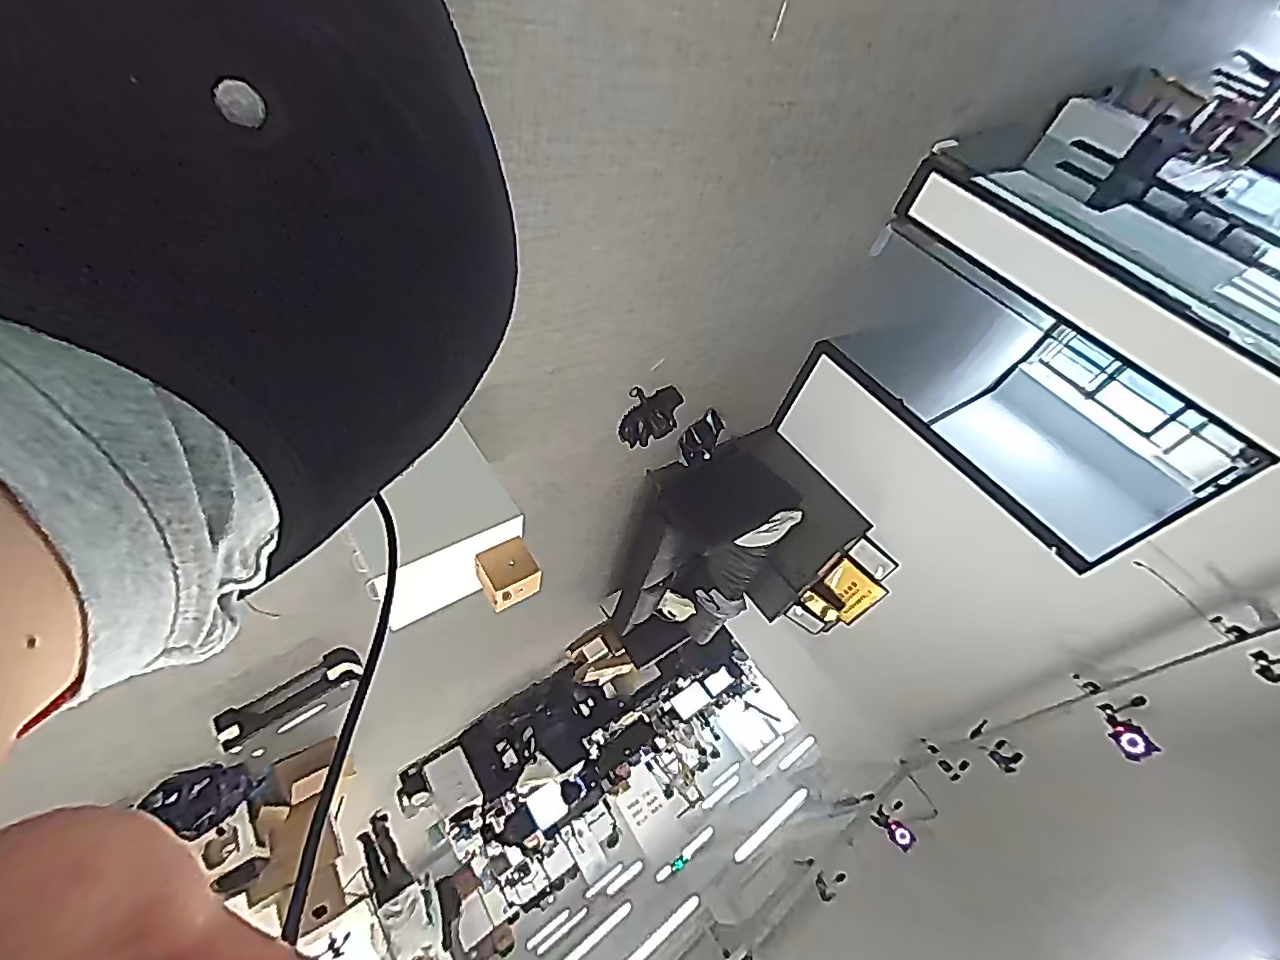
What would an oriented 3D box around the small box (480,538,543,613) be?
[{"bbox_3d":[-0.471,0.343,1.959,0.179,0.176,0.168,-25,153,-29],"label":"small box"}]
